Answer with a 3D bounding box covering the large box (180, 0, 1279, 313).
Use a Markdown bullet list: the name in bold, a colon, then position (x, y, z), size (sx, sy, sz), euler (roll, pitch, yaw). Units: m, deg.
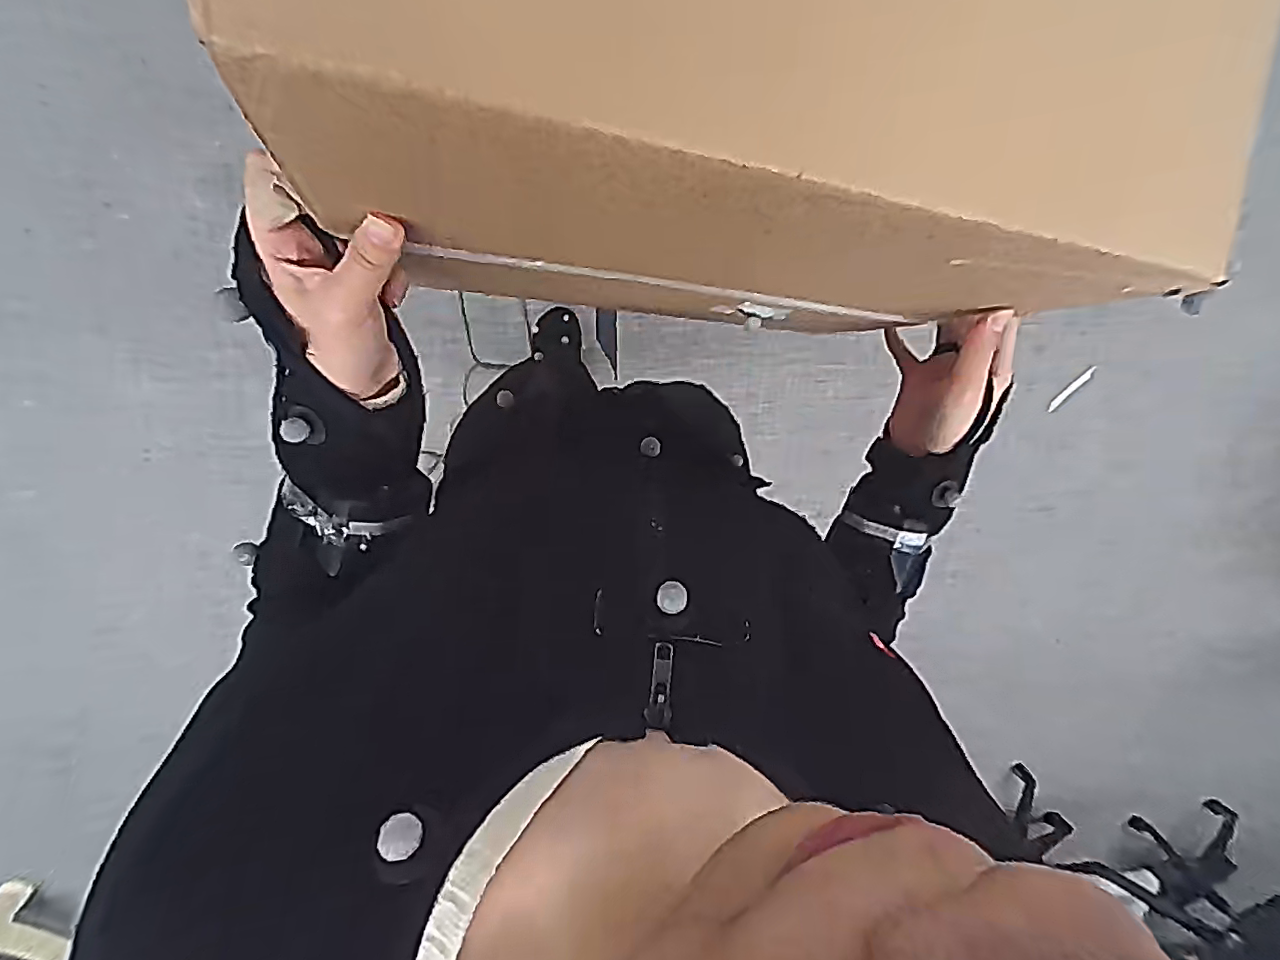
- **large box**: position (0.043, -0.280, 0.289), size (0.408, 0.320, 0.320), euler (-1, 102, -20)
